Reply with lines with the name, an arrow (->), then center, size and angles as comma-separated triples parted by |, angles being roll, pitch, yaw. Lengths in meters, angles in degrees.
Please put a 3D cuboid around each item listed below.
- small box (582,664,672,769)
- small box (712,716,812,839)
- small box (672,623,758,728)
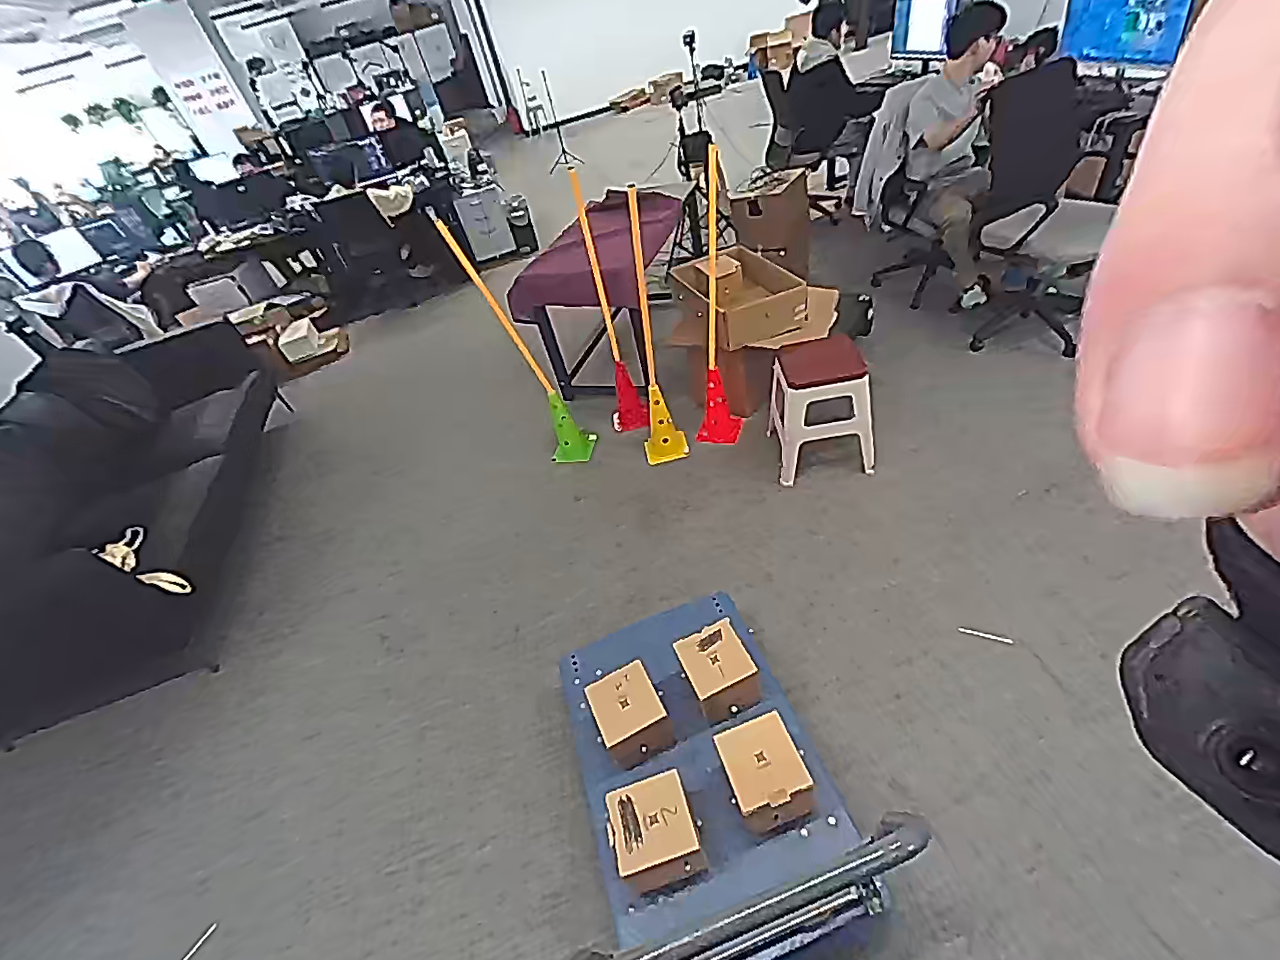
small box -> -0.030, 0.627, 1.419 | 0.168, 0.176, 0.179 | -24, 42, -10
small box -> 0.281, 0.690, 1.256 | 0.168, 0.176, 0.179 | -20, 42, -5
small box -> 0.202, 0.527, 1.455 | 0.168, 0.176, 0.179 | -24, 43, -8
